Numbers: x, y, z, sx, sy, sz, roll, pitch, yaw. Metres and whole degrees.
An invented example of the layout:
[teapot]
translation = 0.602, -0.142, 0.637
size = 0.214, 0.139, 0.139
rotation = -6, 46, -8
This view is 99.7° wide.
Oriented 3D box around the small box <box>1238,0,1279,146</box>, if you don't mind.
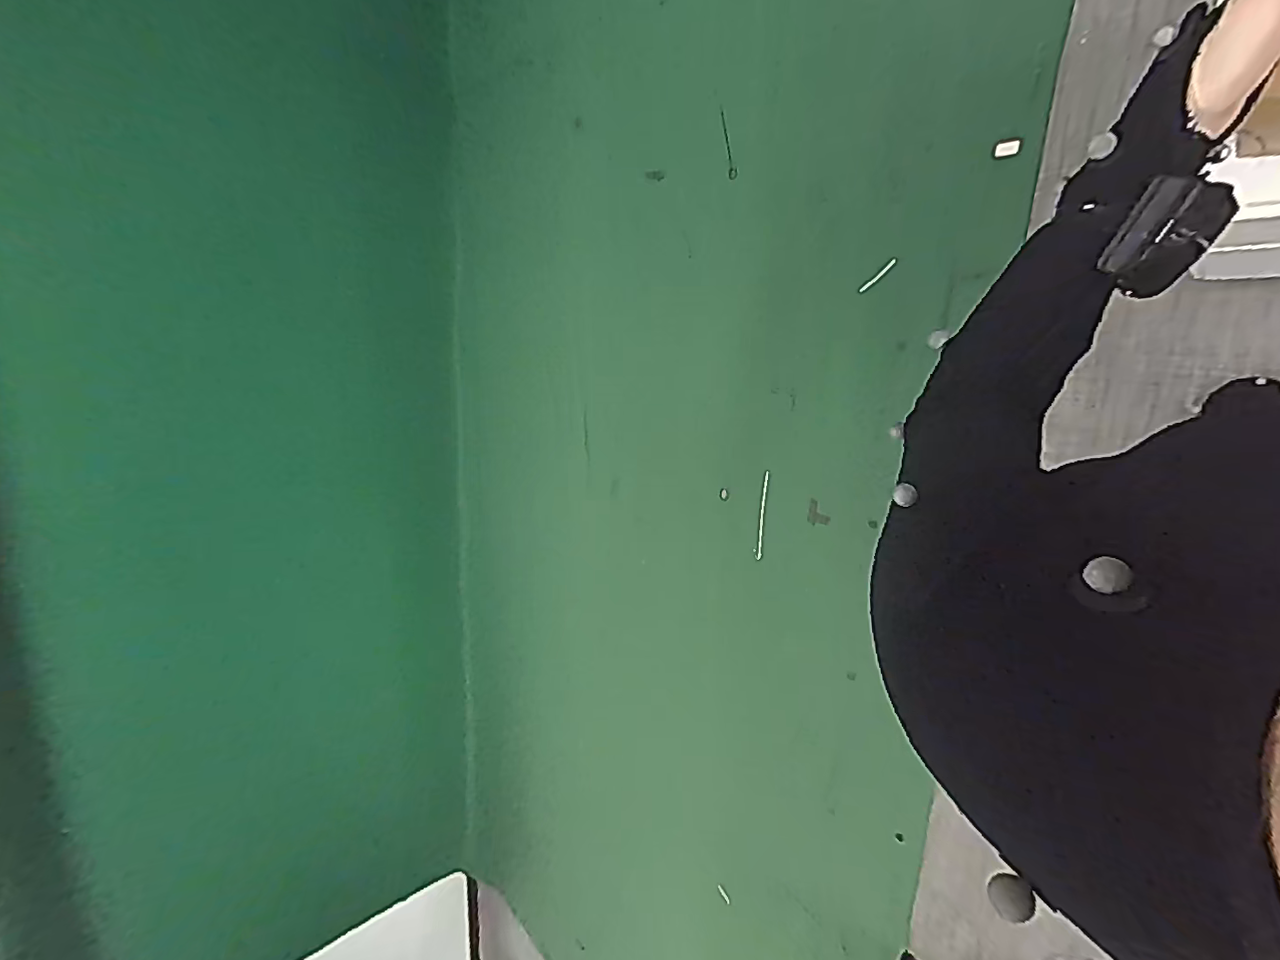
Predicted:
[small box]
translation = 0.685, -0.417, 0.477
size = 0.179, 0.176, 0.168
rotation = 24, 113, 43
